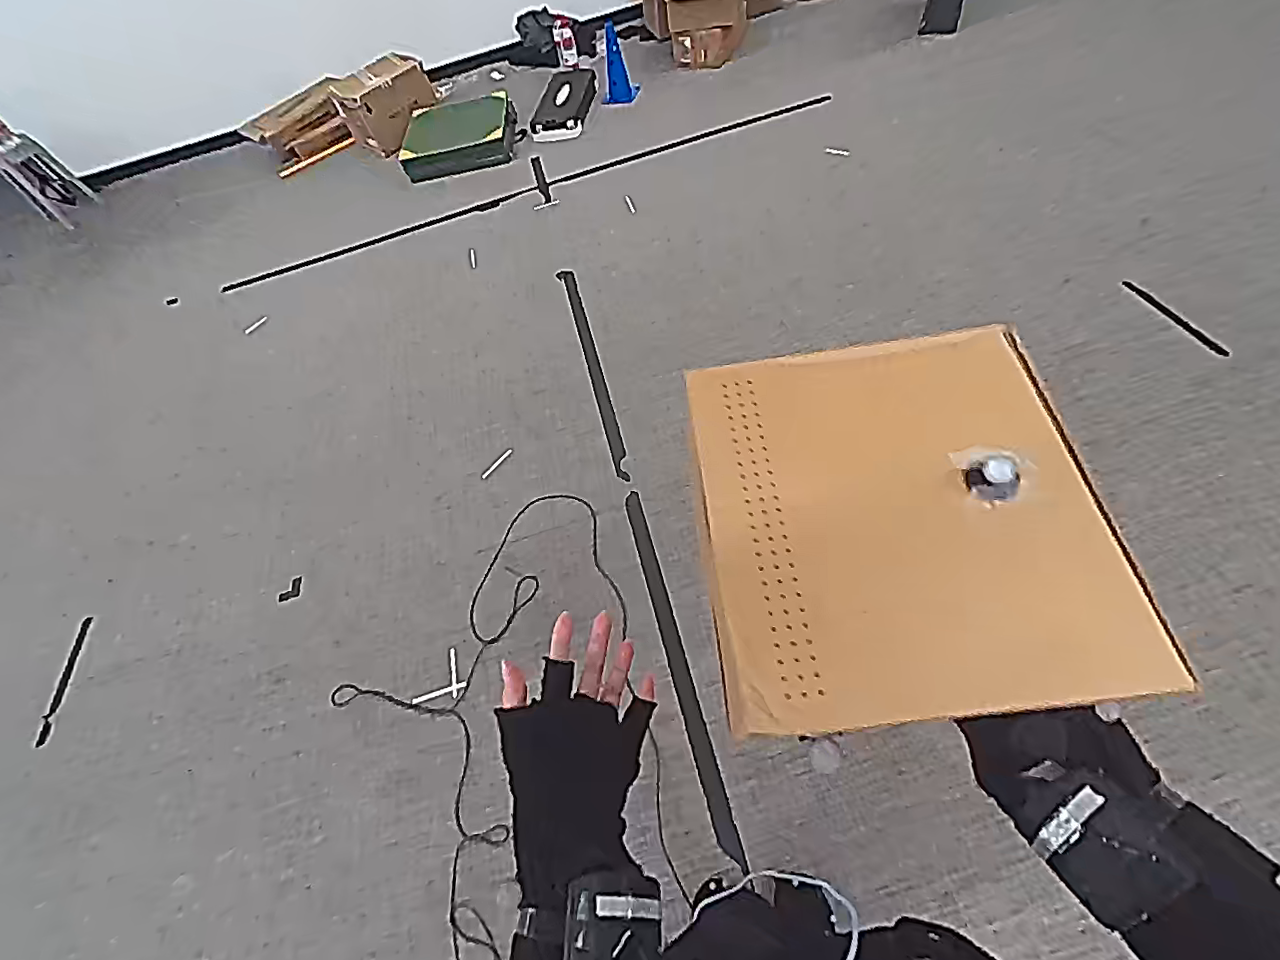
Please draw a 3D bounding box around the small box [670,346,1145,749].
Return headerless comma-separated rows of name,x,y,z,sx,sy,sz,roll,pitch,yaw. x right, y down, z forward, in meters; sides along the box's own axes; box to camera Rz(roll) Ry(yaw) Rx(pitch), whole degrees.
small box,0.114,0.051,0.320,0.176,0.168,0.179,-9,63,4
